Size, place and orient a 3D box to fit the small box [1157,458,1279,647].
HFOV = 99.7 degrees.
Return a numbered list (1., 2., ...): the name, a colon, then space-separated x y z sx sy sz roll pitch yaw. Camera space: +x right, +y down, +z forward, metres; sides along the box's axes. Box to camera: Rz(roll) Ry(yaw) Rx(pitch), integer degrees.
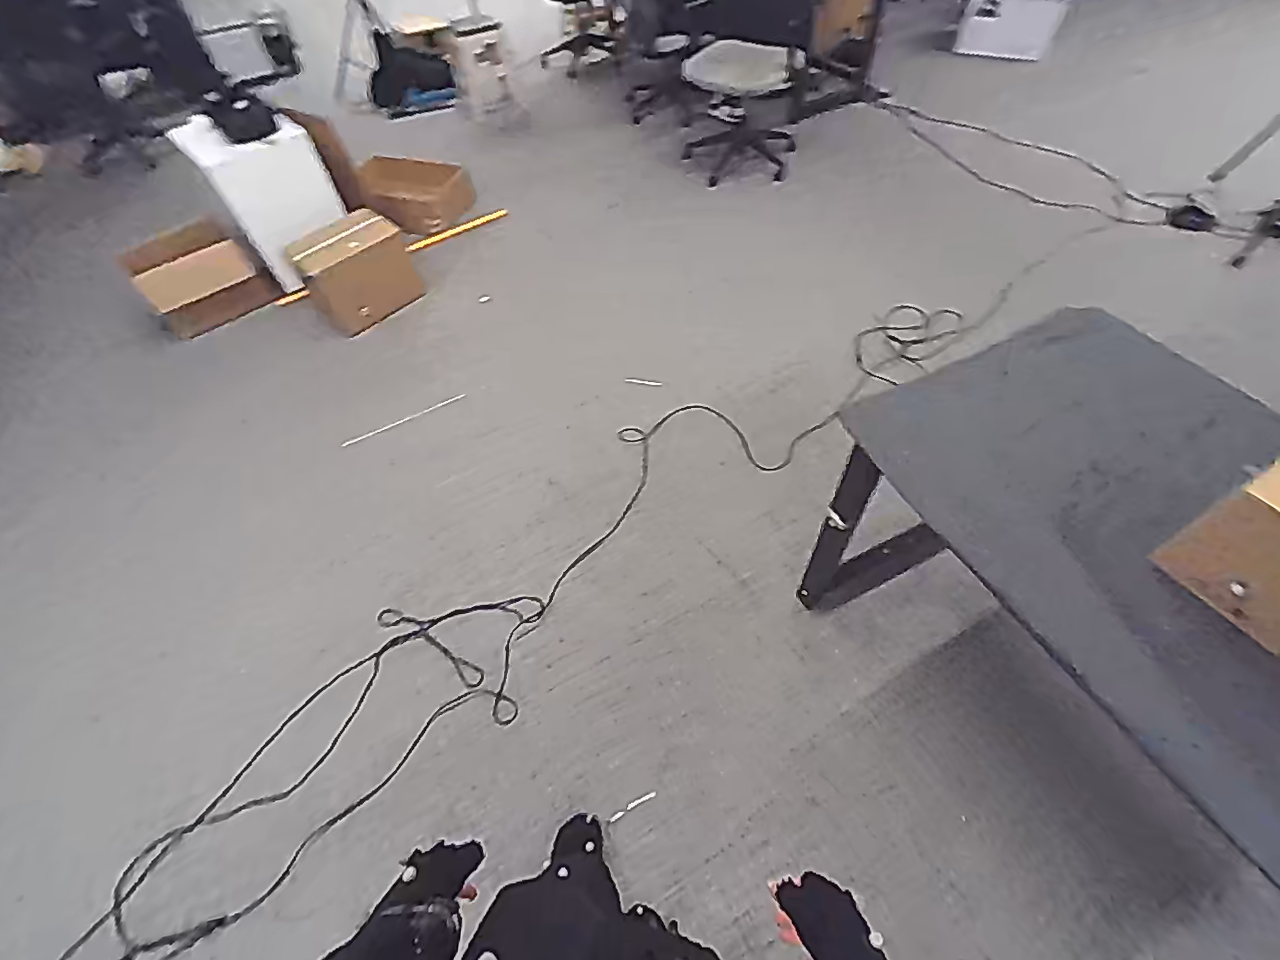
1. small box: 0.814 0.074 0.667 0.179 0.176 0.168 -27 56 -15
